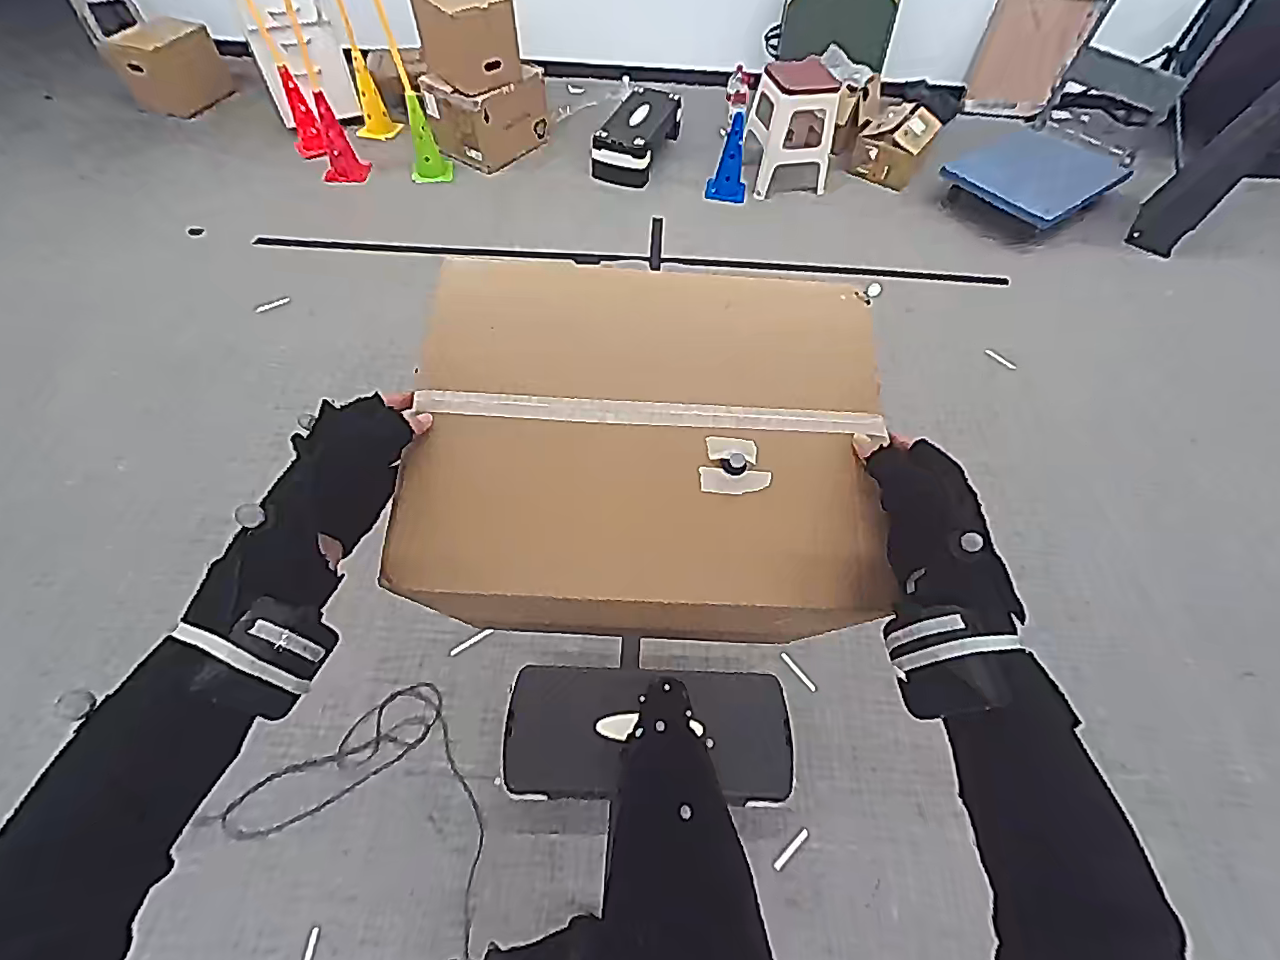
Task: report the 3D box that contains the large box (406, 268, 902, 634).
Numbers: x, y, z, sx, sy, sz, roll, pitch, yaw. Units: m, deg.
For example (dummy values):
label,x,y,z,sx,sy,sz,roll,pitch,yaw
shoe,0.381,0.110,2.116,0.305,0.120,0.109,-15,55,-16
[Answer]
label,x,y,z,sx,sy,sz,roll,pitch,yaw
large box,0.008,-0.002,0.617,0.408,0.320,0.320,3,69,-3
